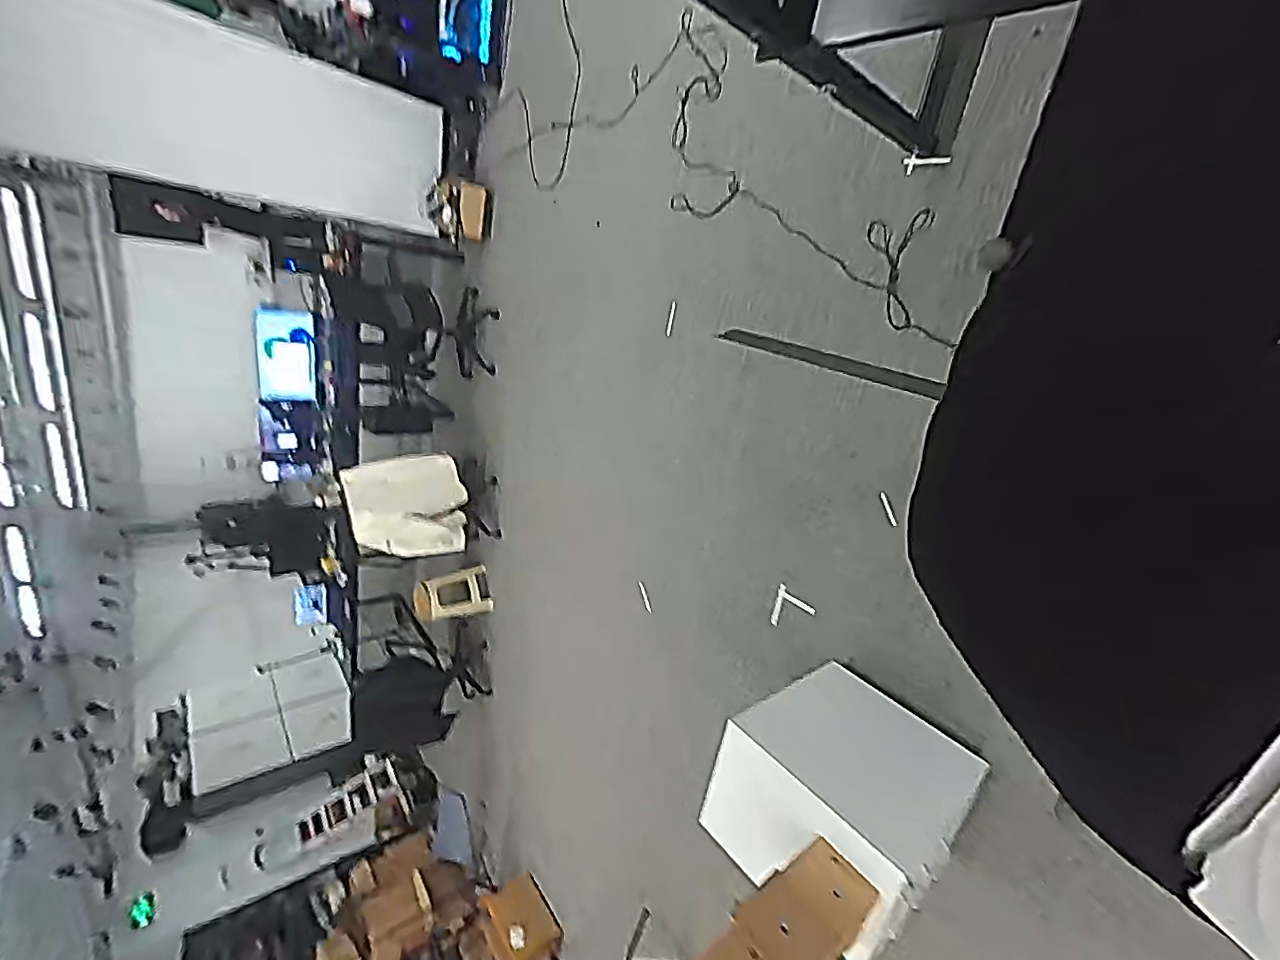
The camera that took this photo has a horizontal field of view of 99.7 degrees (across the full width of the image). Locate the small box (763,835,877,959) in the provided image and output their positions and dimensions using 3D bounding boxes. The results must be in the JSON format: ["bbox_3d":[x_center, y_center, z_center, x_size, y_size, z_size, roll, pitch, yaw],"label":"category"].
[{"bbox_3d":[0.415,0.971,1.239,0.168,0.176,0.179,31,118,43],"label":"small box"}]

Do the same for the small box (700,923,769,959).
[{"bbox_3d":[0.173,1.001,1.018,0.168,0.176,0.179,34,121,41],"label":"small box"}]
